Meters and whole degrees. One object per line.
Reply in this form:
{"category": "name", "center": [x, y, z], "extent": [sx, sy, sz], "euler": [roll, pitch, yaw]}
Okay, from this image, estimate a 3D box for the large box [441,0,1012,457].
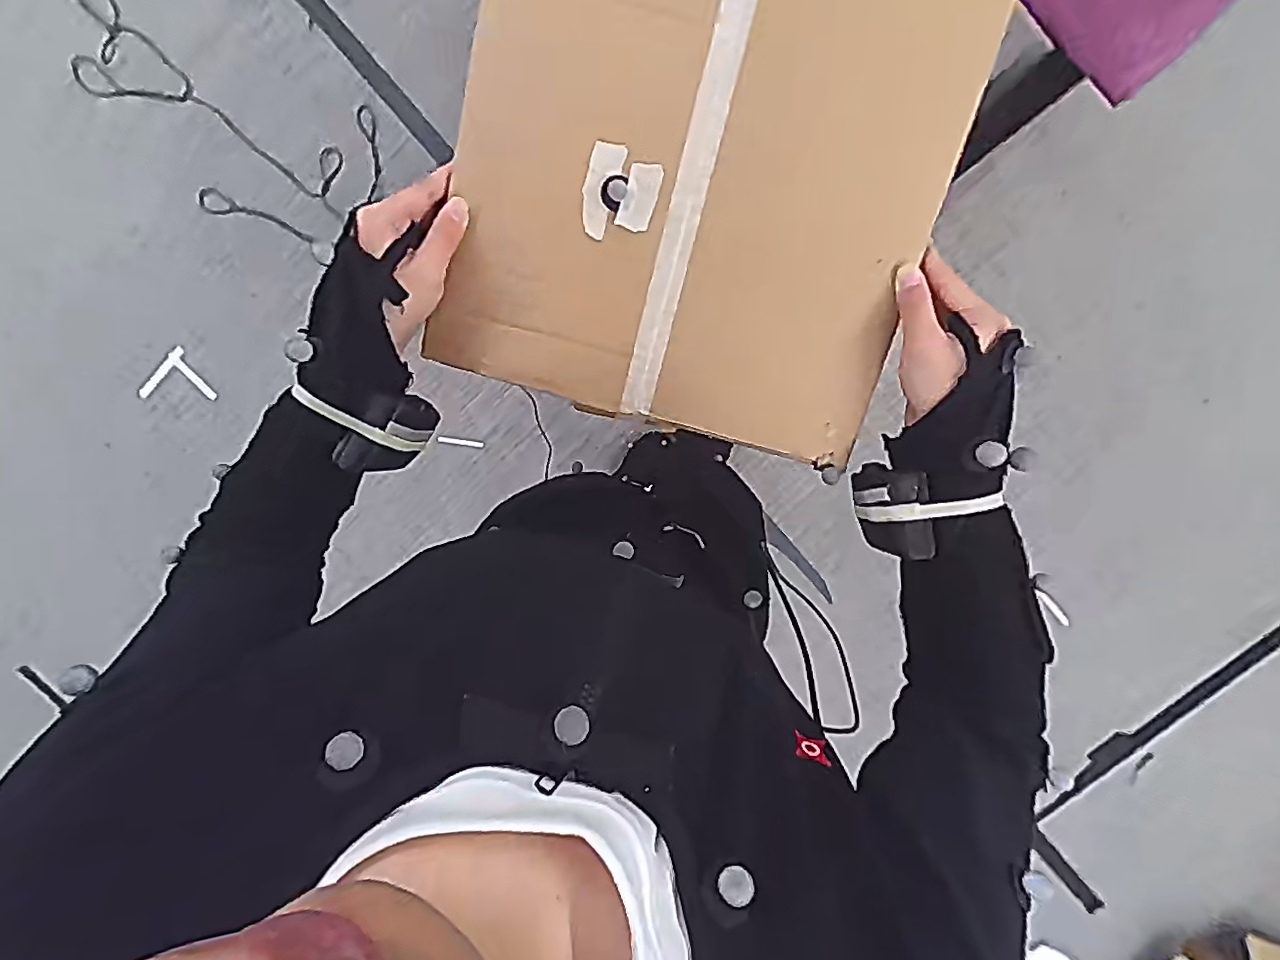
{"category": "large box", "center": [0.056, -0.272, 0.479], "extent": [0.320, 0.320, 0.408], "euler": [14, 103, 0]}
